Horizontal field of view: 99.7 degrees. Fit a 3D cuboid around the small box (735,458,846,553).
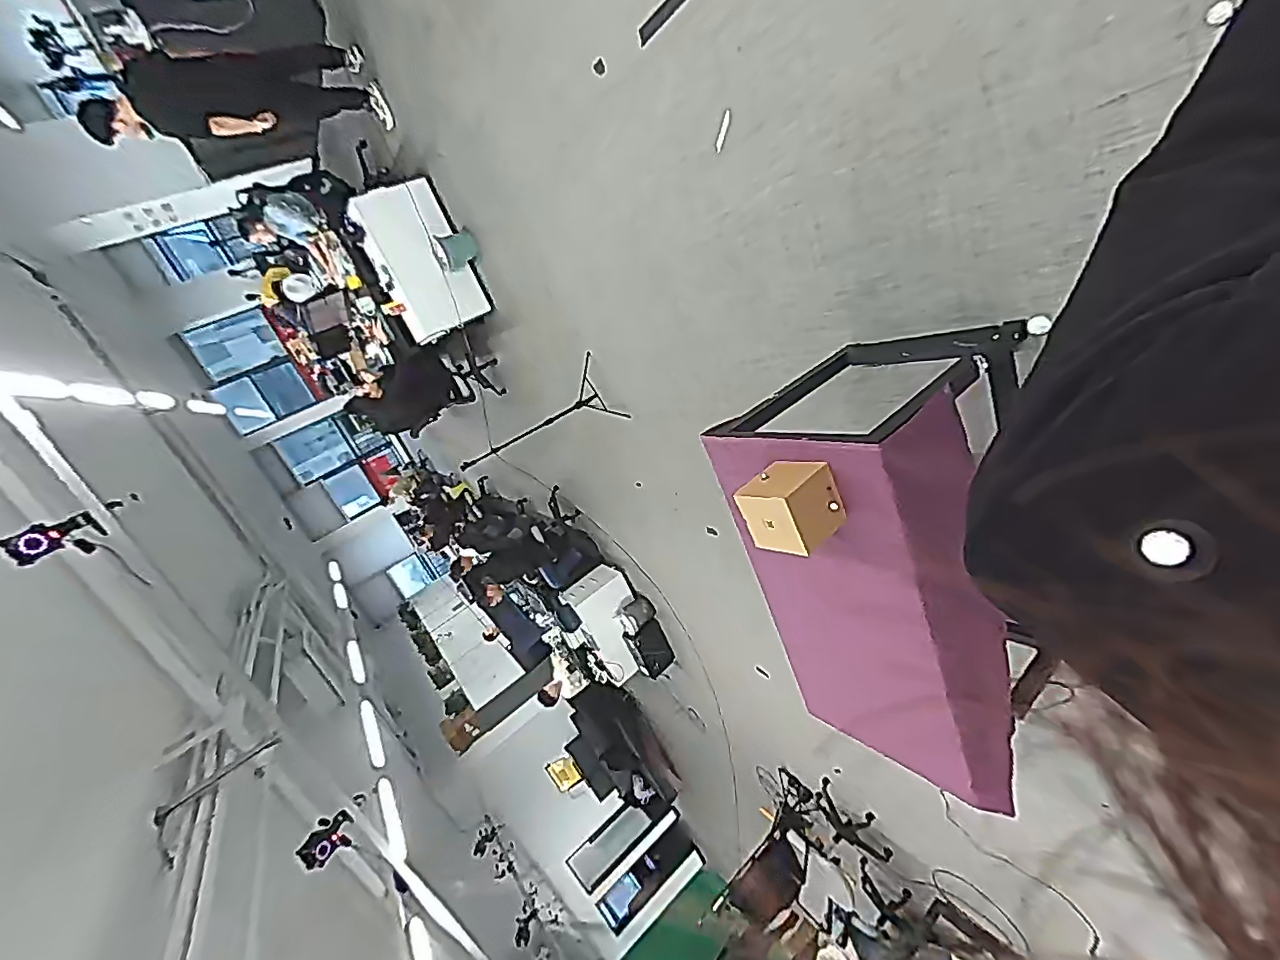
[{"bbox_3d":[0.378,0.056,1.355,0.179,0.176,0.168,6,127,60],"label":"small box"}]
